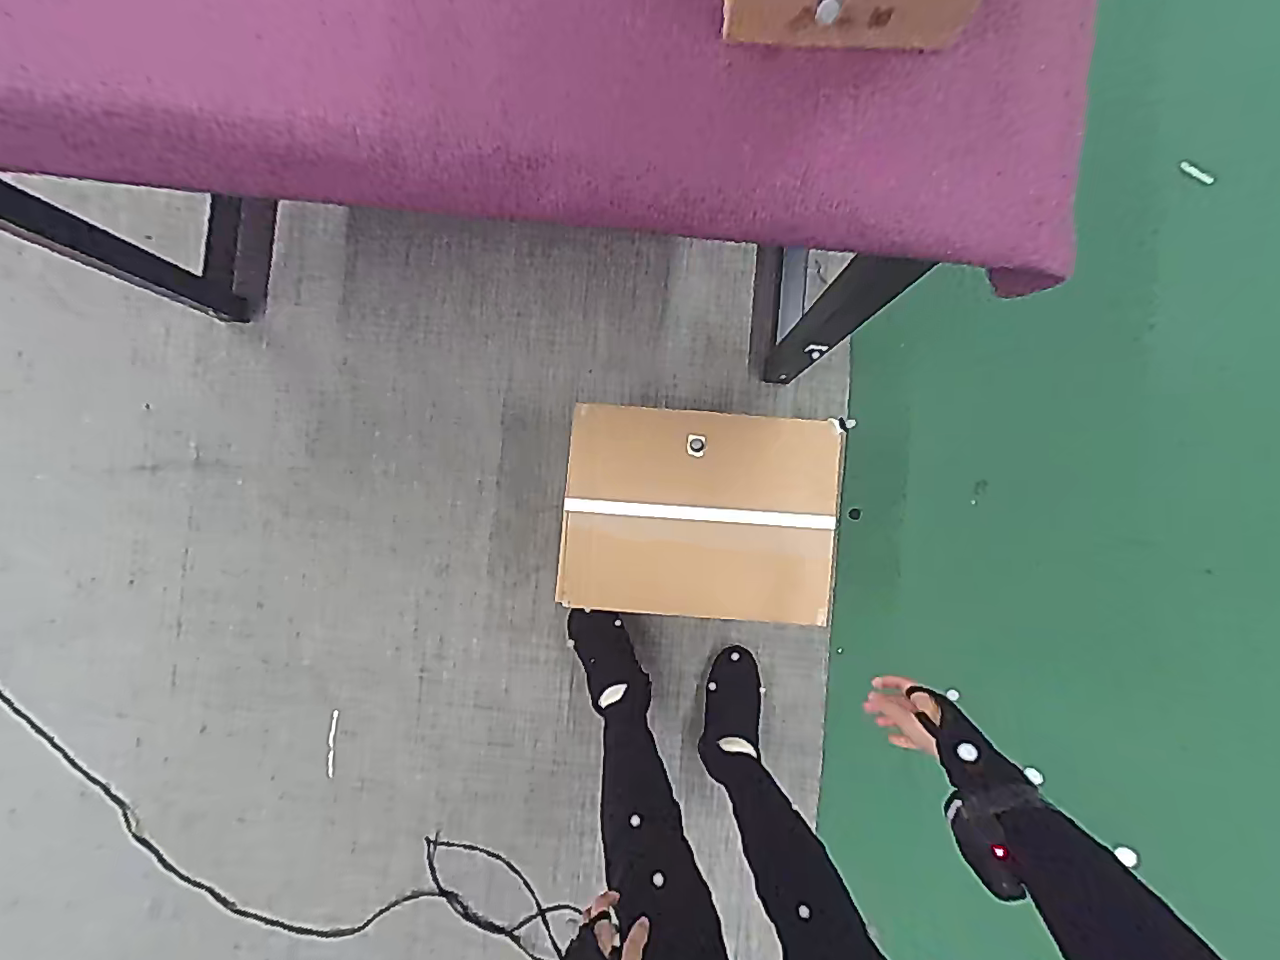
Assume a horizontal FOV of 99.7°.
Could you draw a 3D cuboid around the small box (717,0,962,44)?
[{"bbox_3d":[0.135,-0.403,0.307,0.168,0.176,0.179,2,87,2],"label":"small box"}]
